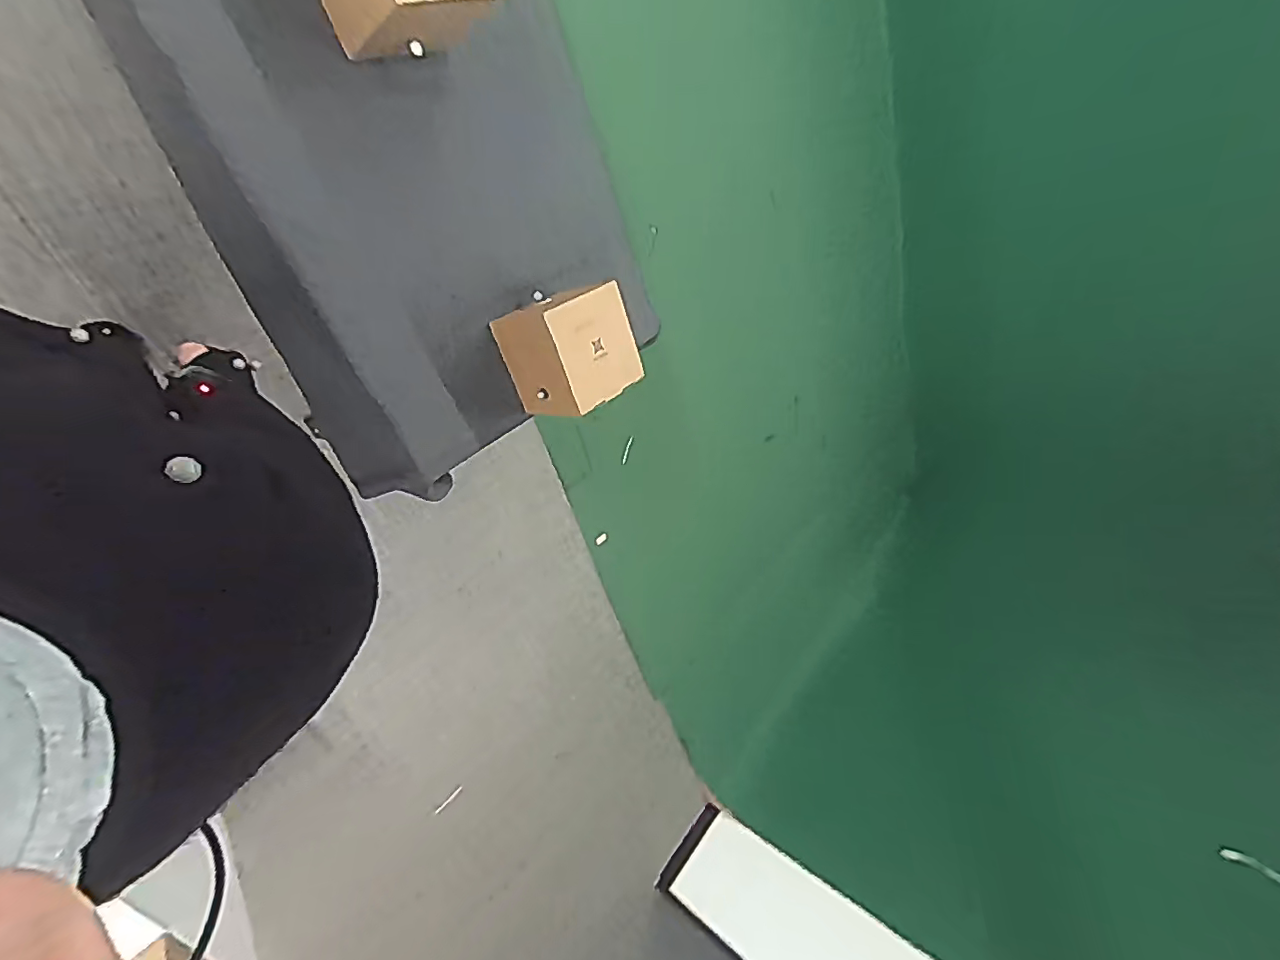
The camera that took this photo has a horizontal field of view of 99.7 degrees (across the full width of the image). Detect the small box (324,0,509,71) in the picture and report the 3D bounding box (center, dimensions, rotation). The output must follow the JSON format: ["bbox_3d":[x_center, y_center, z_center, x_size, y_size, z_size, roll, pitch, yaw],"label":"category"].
[{"bbox_3d":[-0.305,-0.659,0.681,0.168,0.176,0.179,-40,124,-32],"label":"small box"}]

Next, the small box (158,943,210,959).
[{"bbox_3d":[-0.691,0.832,0.765,0.179,0.176,0.168,-37,121,-32],"label":"small box"}]

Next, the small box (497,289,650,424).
[{"bbox_3d":[-0.116,-0.214,0.944,0.168,0.176,0.179,-39,121,-34],"label":"small box"}]
